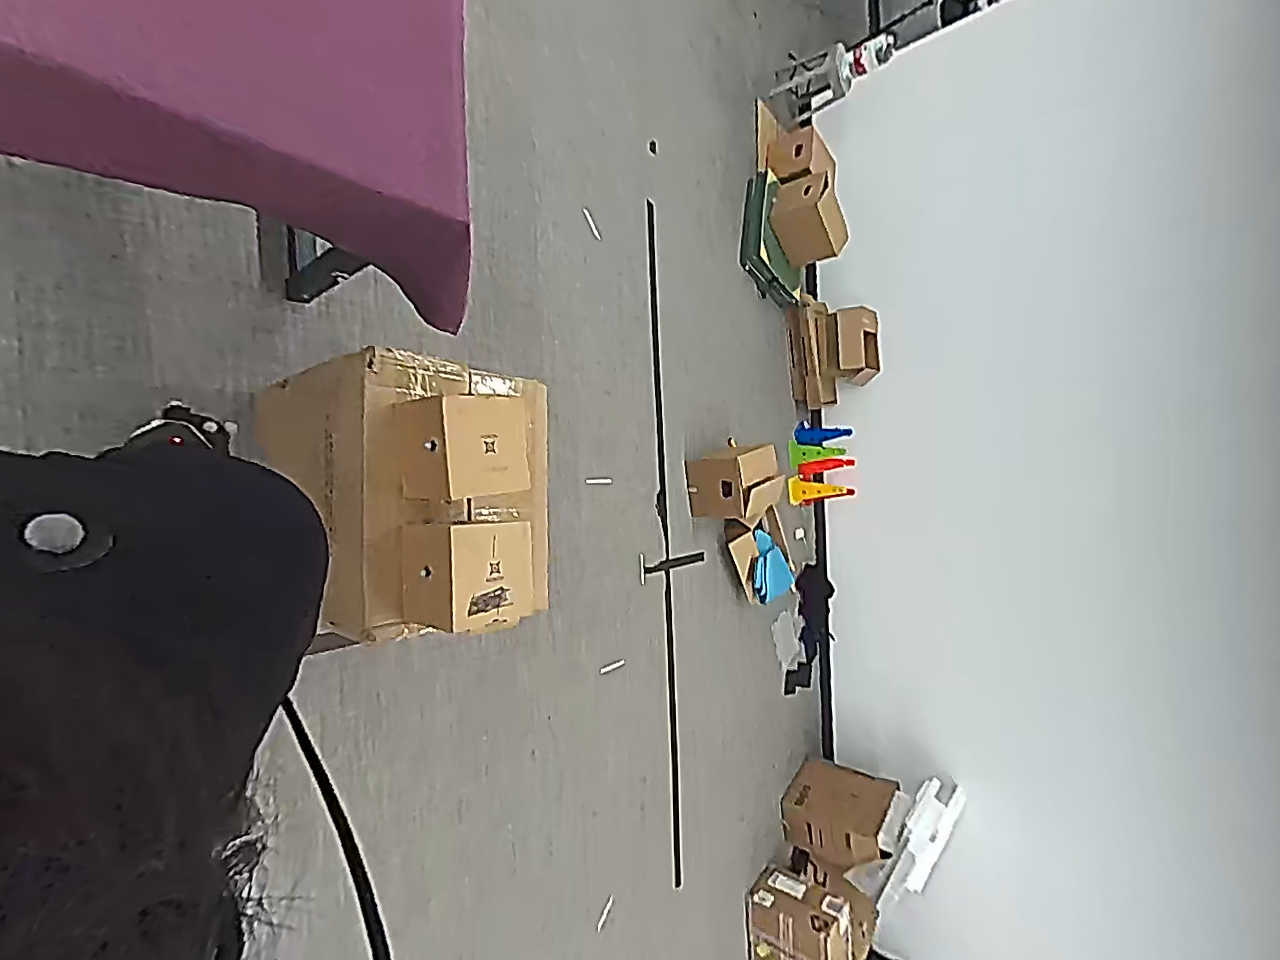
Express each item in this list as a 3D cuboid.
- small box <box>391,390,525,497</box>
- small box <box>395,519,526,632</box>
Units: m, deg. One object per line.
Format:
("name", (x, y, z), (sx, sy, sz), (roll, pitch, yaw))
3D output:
("small box", (-0.330, -0.063, 0.976), (0.168, 0.176, 0.179), (-8, 97, -49))
("small box", (-0.323, 0.161, 0.972), (0.168, 0.176, 0.179), (1, 86, -51))
